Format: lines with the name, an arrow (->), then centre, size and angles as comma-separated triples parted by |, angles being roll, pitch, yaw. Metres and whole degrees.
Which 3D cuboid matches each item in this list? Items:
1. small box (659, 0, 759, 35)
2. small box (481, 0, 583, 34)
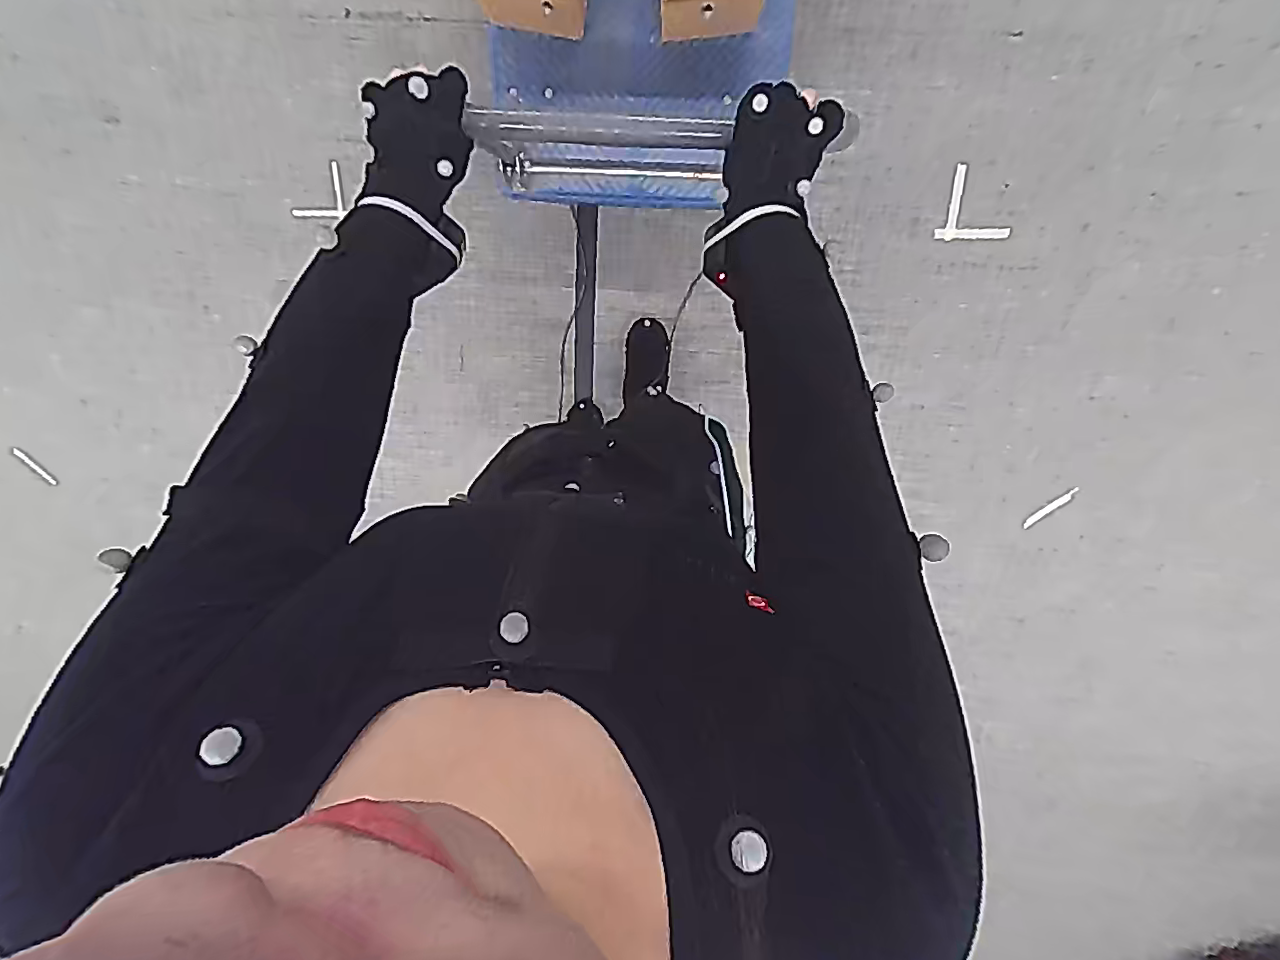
small box -> 0.116, -0.880, 0.905 | 0.179, 0.176, 0.168 | -3, 111, 4
small box -> -0.189, -0.895, 0.914 | 0.179, 0.176, 0.168 | 8, 111, -2
